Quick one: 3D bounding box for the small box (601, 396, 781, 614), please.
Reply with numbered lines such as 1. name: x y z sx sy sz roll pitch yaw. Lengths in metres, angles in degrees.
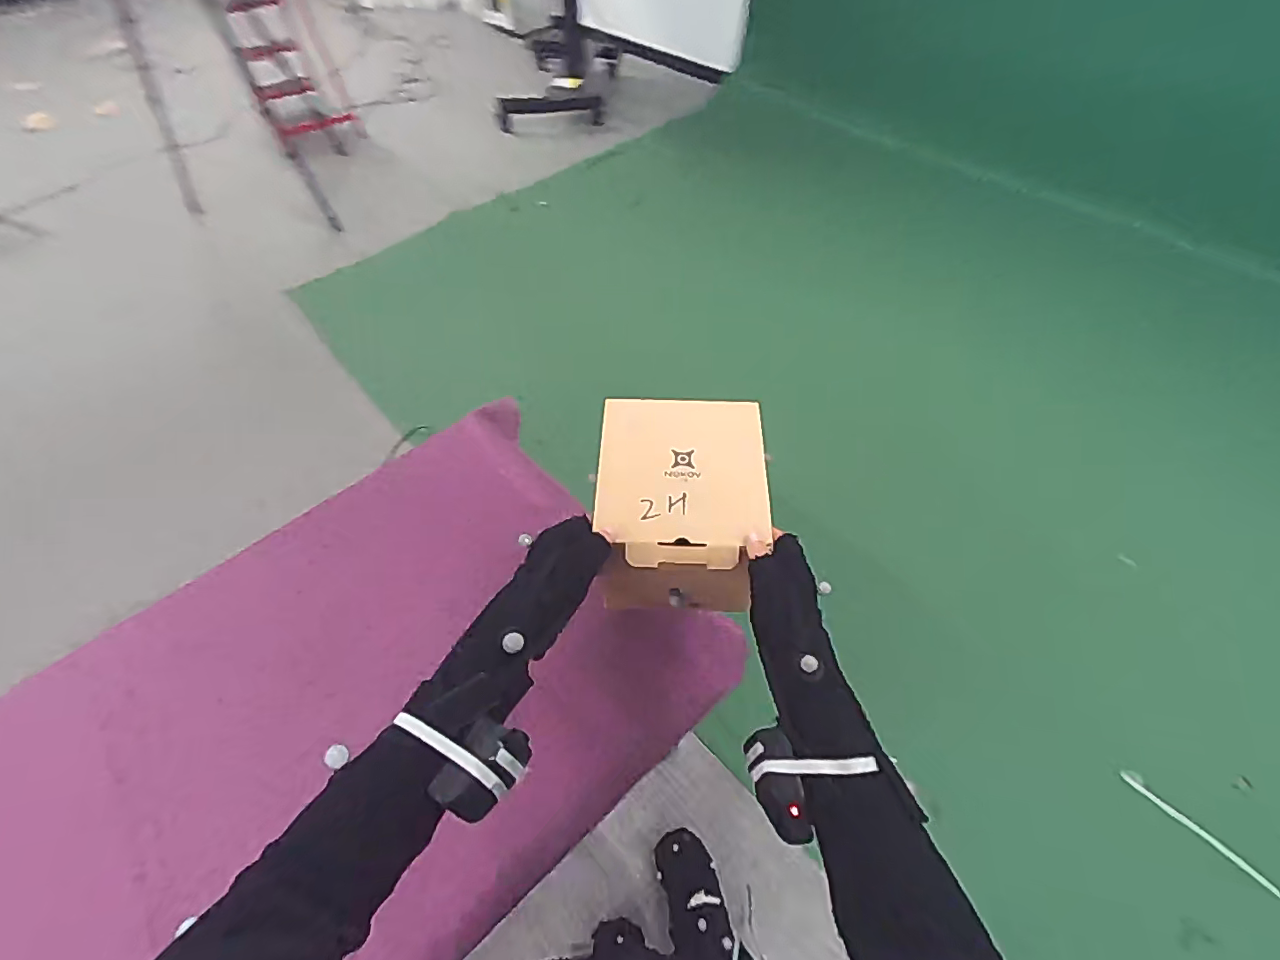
1. small box: 0.051 0.031 0.596 0.168 0.176 0.179 3 57 2
